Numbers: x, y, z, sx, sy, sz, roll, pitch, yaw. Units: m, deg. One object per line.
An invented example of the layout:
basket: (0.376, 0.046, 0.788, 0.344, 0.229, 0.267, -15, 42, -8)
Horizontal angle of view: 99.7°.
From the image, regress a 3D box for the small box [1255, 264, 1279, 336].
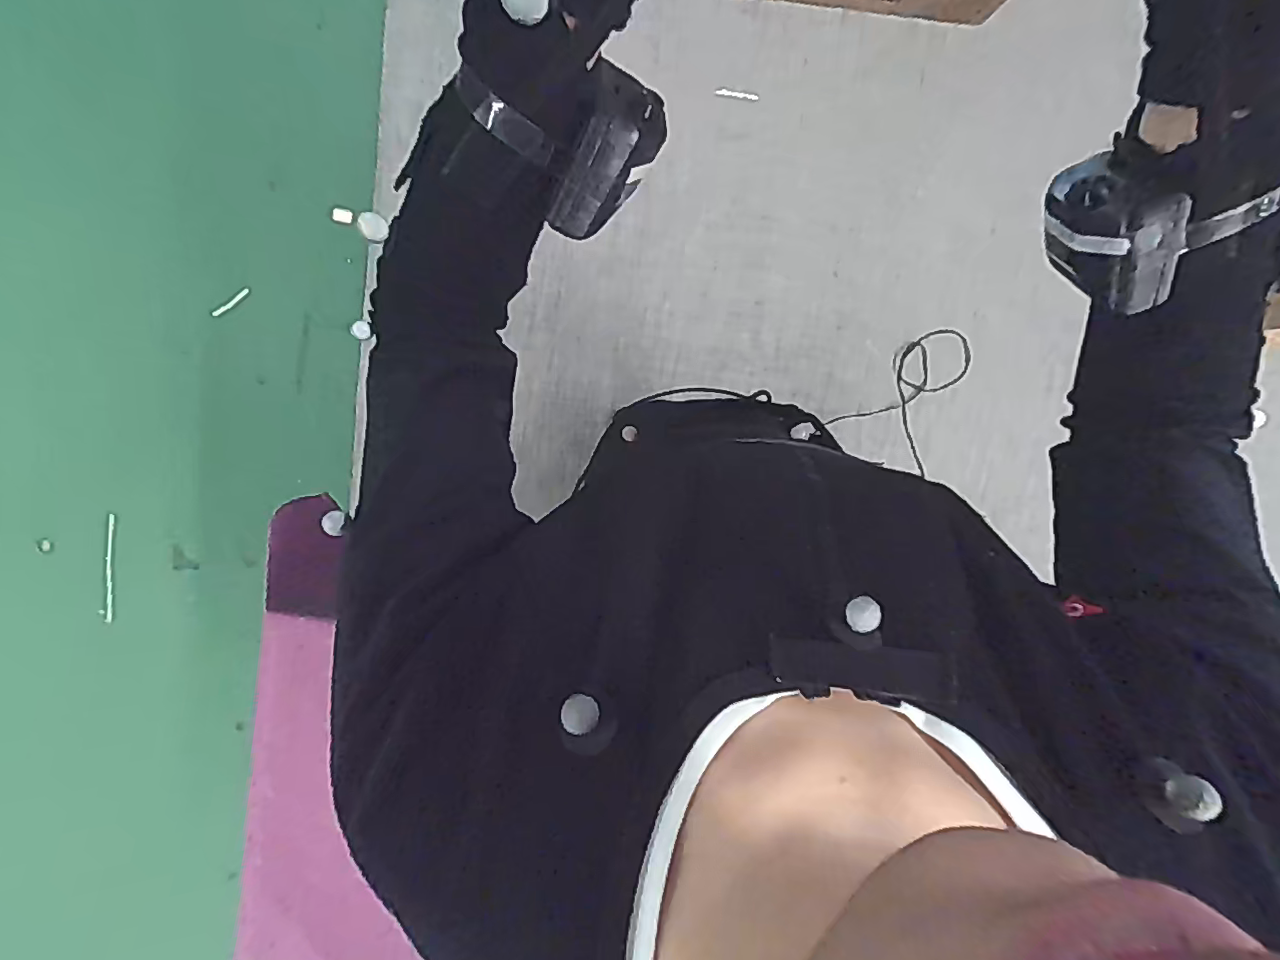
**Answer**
small box: (1.529, -0.401, 1.174, 0.179, 0.176, 0.168, 7, 97, -2)
